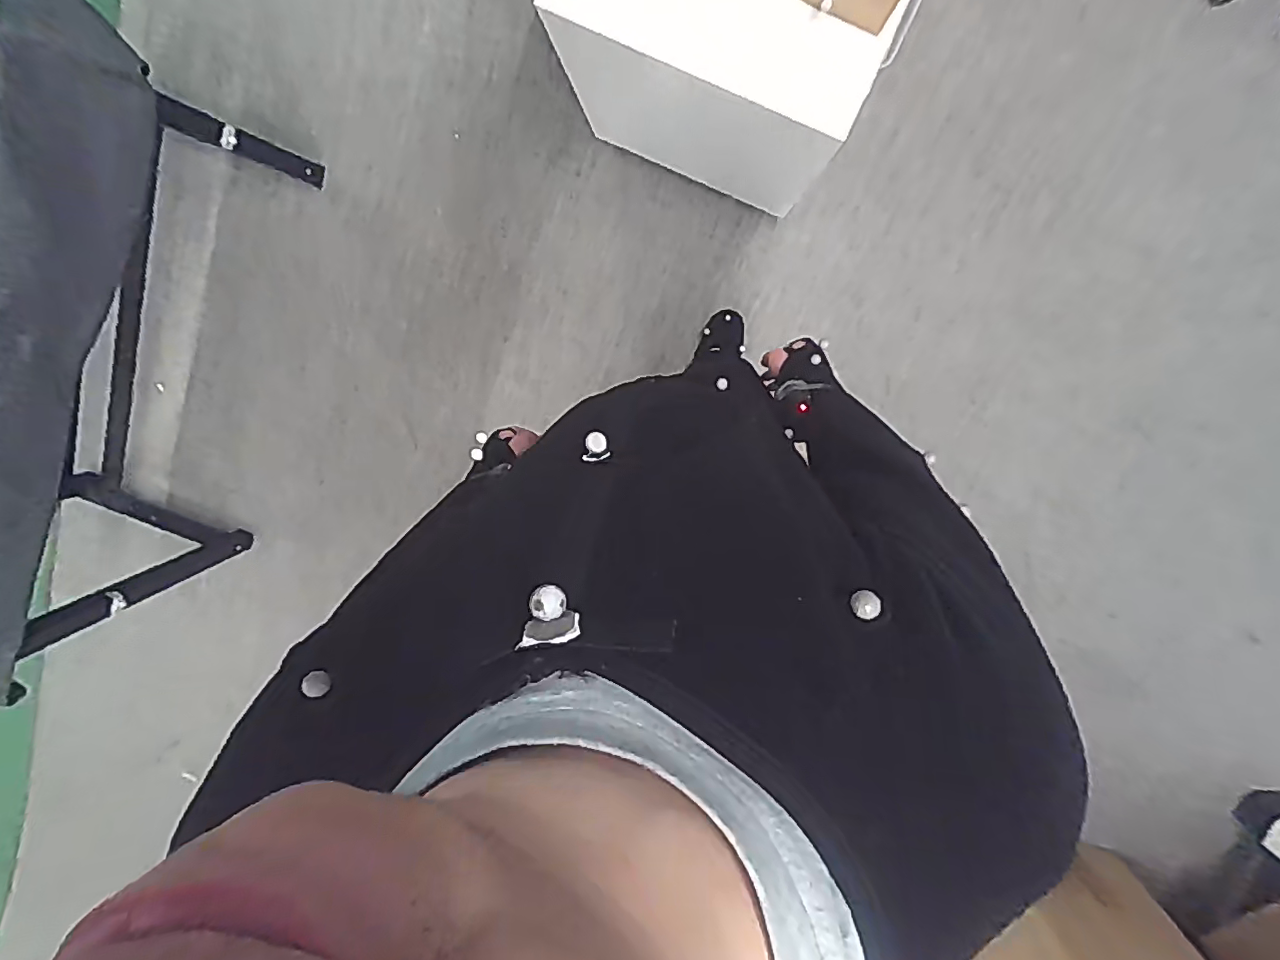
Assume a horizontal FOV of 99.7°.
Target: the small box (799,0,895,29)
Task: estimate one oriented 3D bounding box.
[{"bbox_3d":[0.282,-0.713,0.667,0.179,0.176,0.168,25,104,-3],"label":"small box"}]
